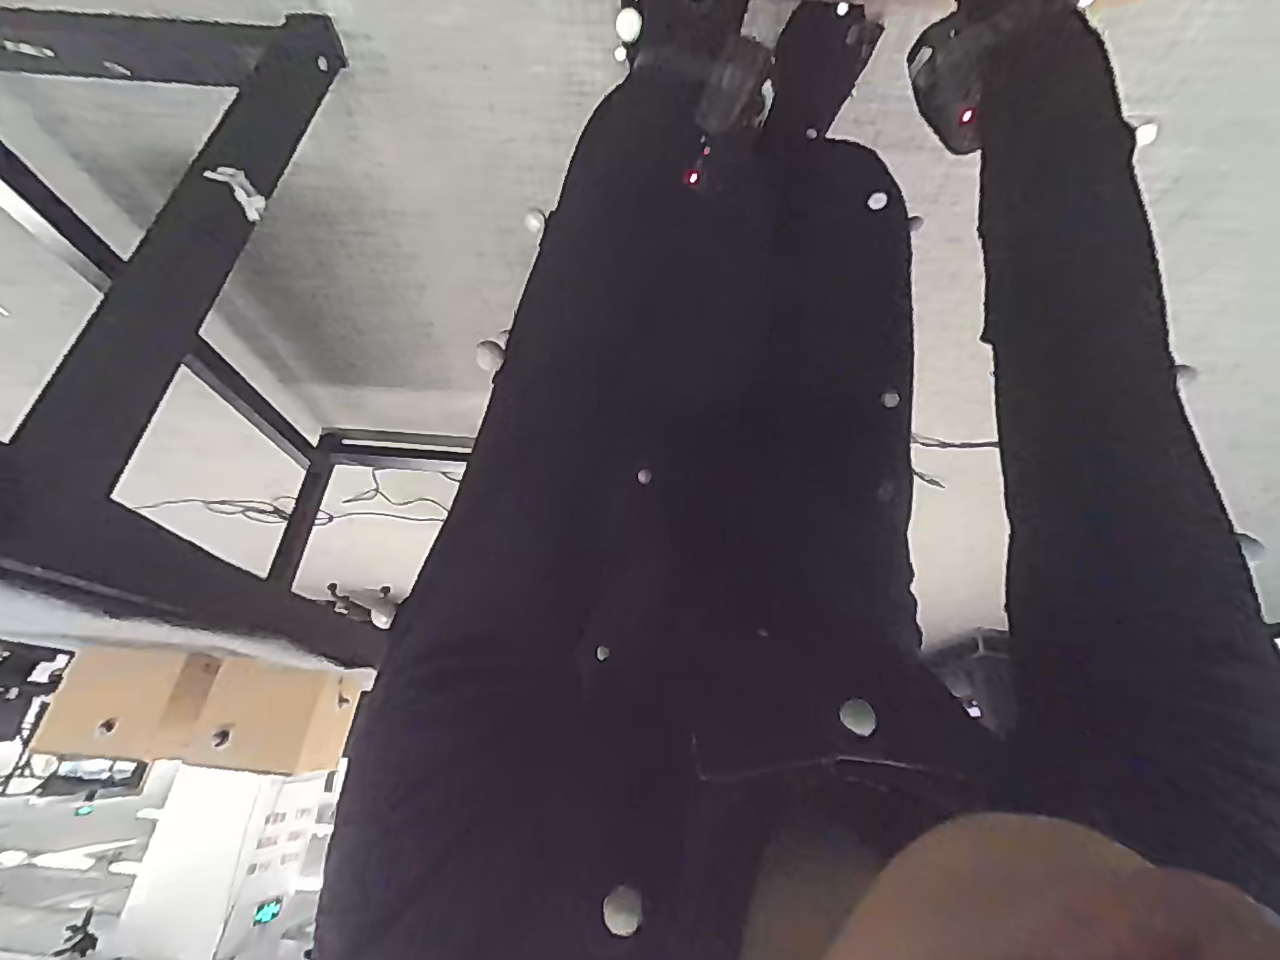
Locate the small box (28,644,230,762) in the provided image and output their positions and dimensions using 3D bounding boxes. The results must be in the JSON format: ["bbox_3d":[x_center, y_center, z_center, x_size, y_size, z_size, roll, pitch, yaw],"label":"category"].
[{"bbox_3d":[-0.848,0.381,0.928,0.179,0.176,0.168,6,154,-3],"label":"small box"}]

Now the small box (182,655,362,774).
[{"bbox_3d":[-0.620,0.405,0.939,0.179,0.176,0.168,6,154,-2],"label":"small box"}]
